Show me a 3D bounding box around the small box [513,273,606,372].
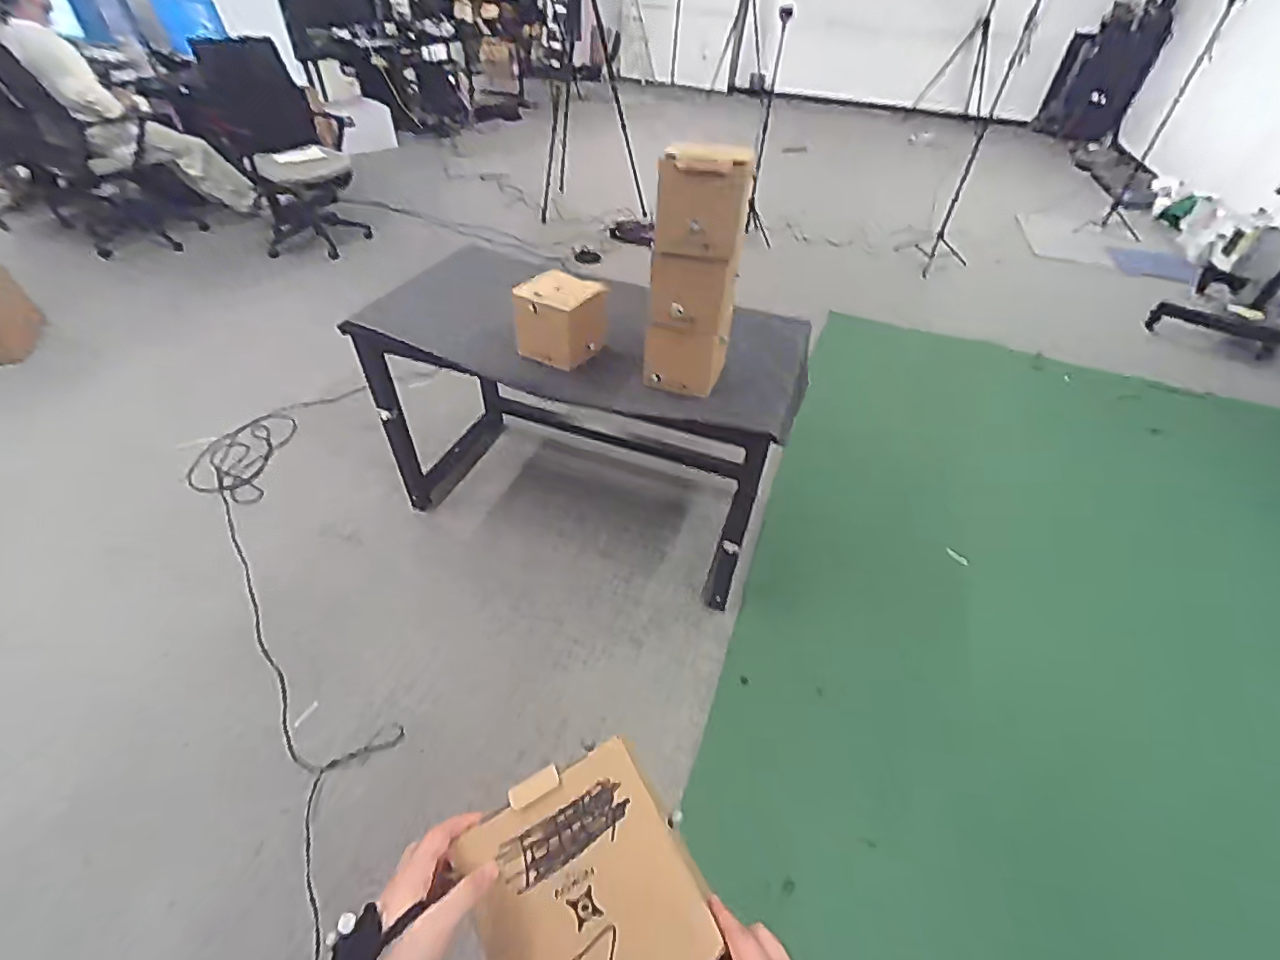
[{"bbox_3d":[-0.202,-0.400,1.373,0.168,0.176,0.179,22,44,19],"label":"small box"}]

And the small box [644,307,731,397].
[{"bbox_3d":[0.113,-0.323,1.314,0.168,0.176,0.179,16,42,13],"label":"small box"}]

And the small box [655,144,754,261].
[{"bbox_3d":[0.127,-0.559,1.087,0.168,0.176,0.179,10,42,9],"label":"small box"}]

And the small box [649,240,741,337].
[{"bbox_3d":[0.119,-0.442,1.204,0.168,0.176,0.179,12,43,11],"label":"small box"}]
